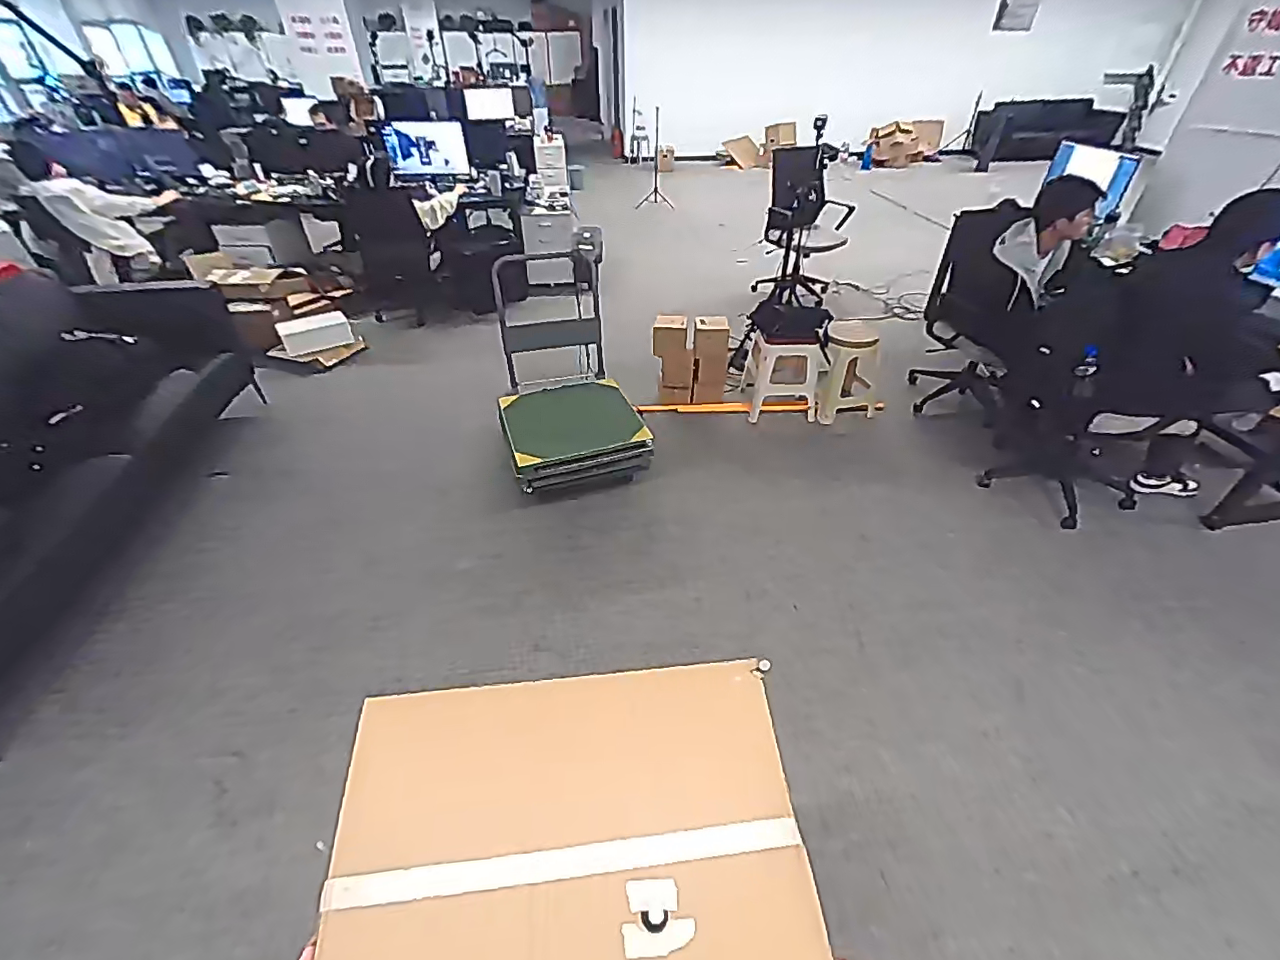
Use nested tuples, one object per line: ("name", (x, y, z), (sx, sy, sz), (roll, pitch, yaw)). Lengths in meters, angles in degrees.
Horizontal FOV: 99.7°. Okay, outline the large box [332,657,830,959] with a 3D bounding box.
("large box", (-0.061, 0.420, 0.594), (0.408, 0.320, 0.320), (-4, 53, -6))
